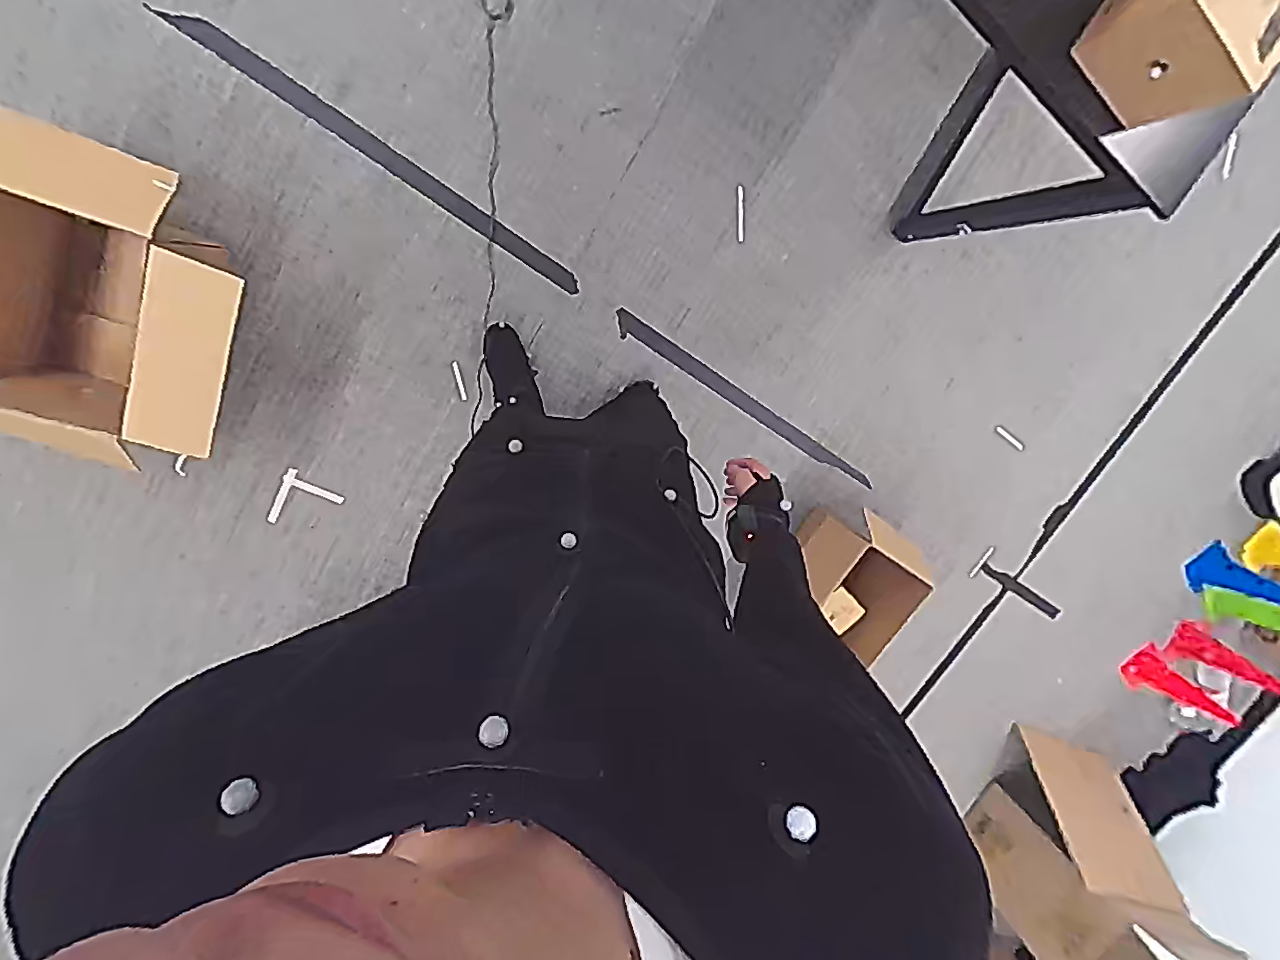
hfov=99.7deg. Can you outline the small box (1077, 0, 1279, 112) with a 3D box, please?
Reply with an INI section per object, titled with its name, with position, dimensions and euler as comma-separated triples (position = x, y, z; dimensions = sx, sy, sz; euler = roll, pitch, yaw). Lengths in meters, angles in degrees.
[small box]
position = 0.775, -0.652, 0.748
dimensions = 0.179, 0.176, 0.168
euler = 30, 99, -18
